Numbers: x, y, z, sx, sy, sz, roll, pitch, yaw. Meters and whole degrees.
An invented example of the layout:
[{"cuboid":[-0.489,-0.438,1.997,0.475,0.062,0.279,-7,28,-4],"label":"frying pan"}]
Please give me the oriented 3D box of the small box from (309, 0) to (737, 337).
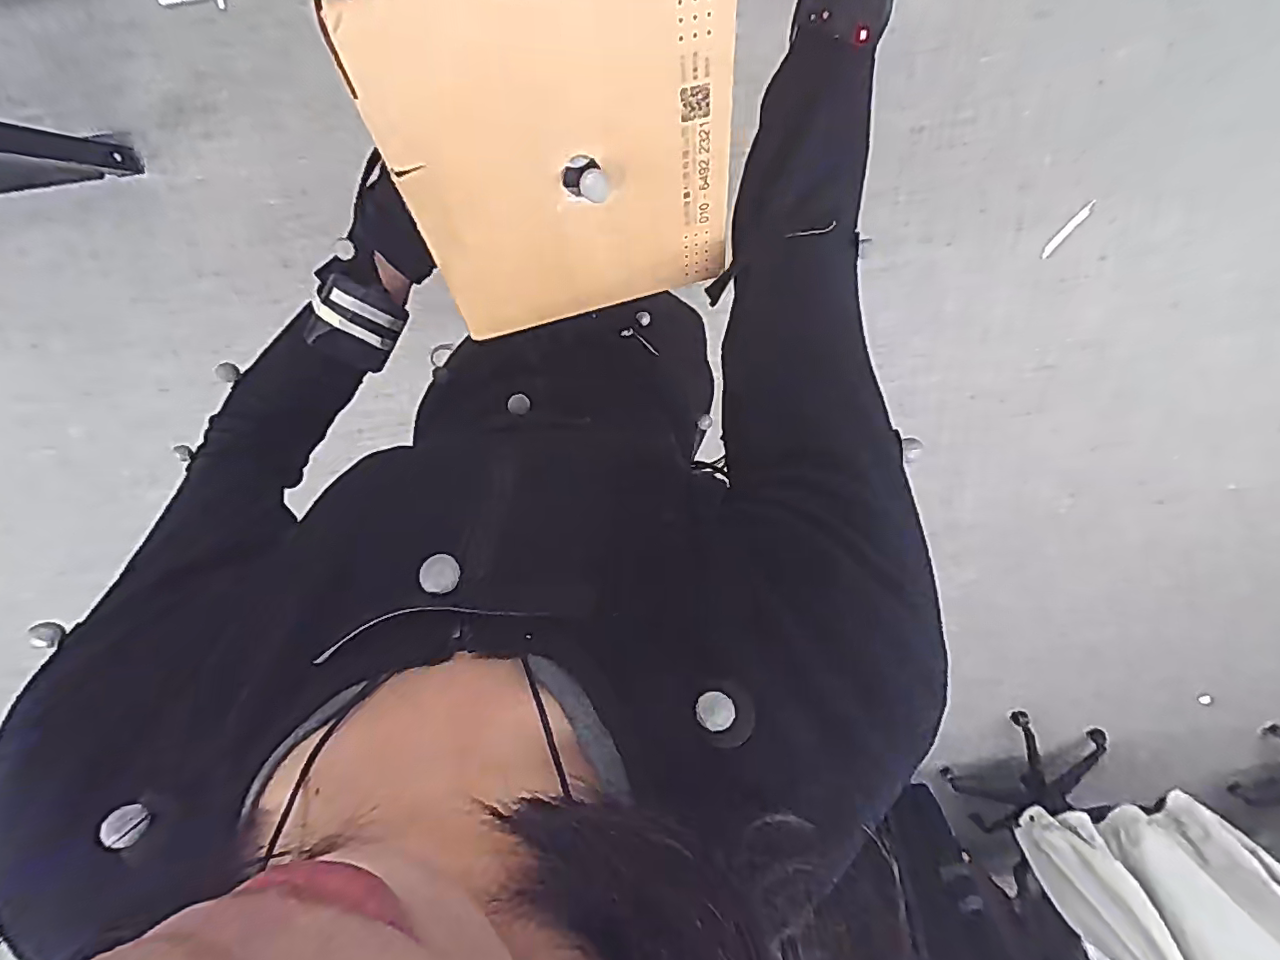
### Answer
[{"cuboid":[-0.055,-0.217,0.305,0.176,0.179,0.168,-17,148,-6],"label":"small box"}]
